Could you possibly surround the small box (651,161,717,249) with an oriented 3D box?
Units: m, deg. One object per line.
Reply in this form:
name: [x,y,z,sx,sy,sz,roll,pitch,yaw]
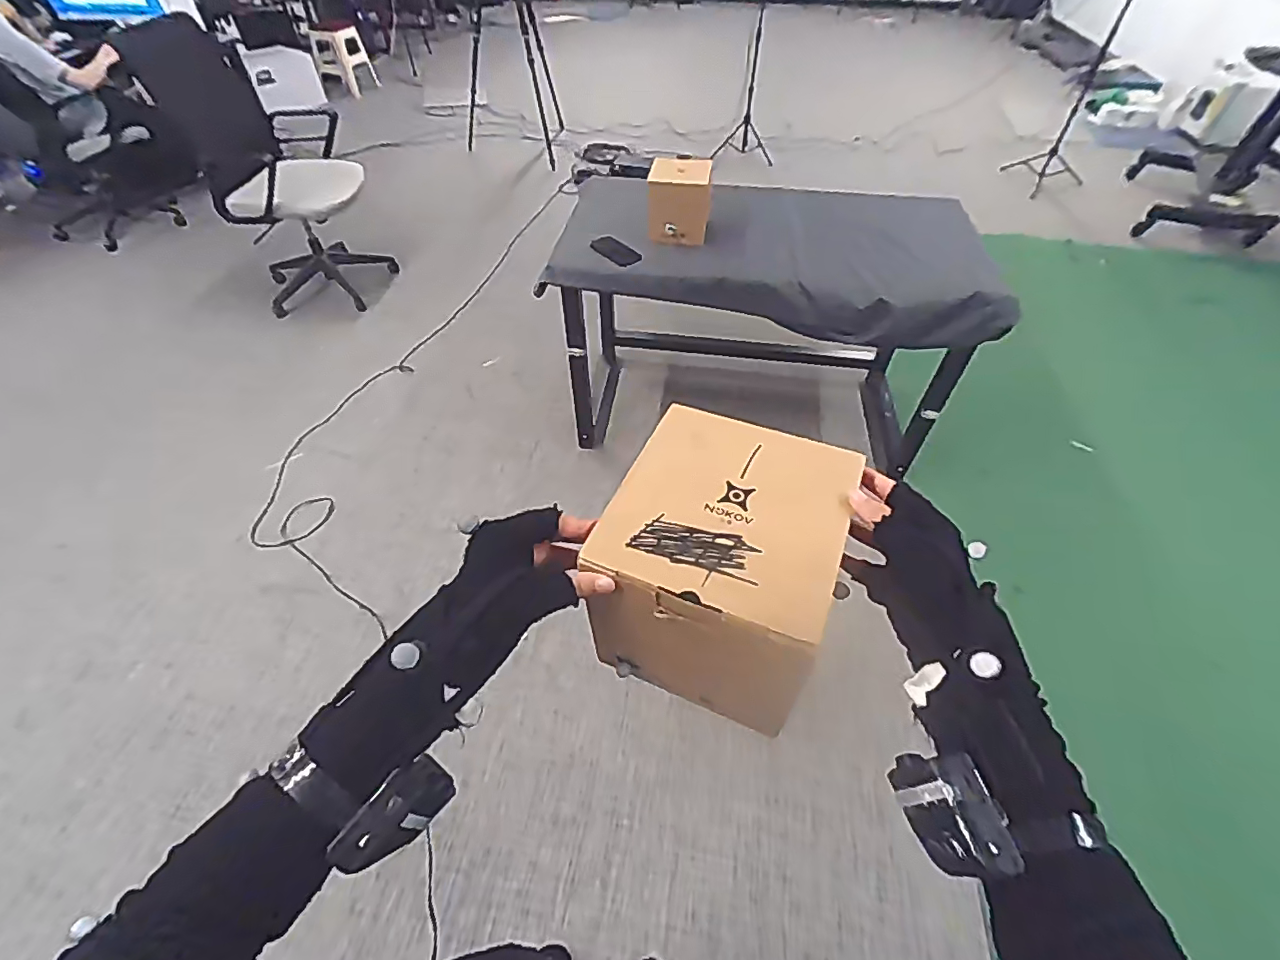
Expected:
small box: [0.124,-0.784,1.544,0.168,0.176,0.179,6,50,6]
